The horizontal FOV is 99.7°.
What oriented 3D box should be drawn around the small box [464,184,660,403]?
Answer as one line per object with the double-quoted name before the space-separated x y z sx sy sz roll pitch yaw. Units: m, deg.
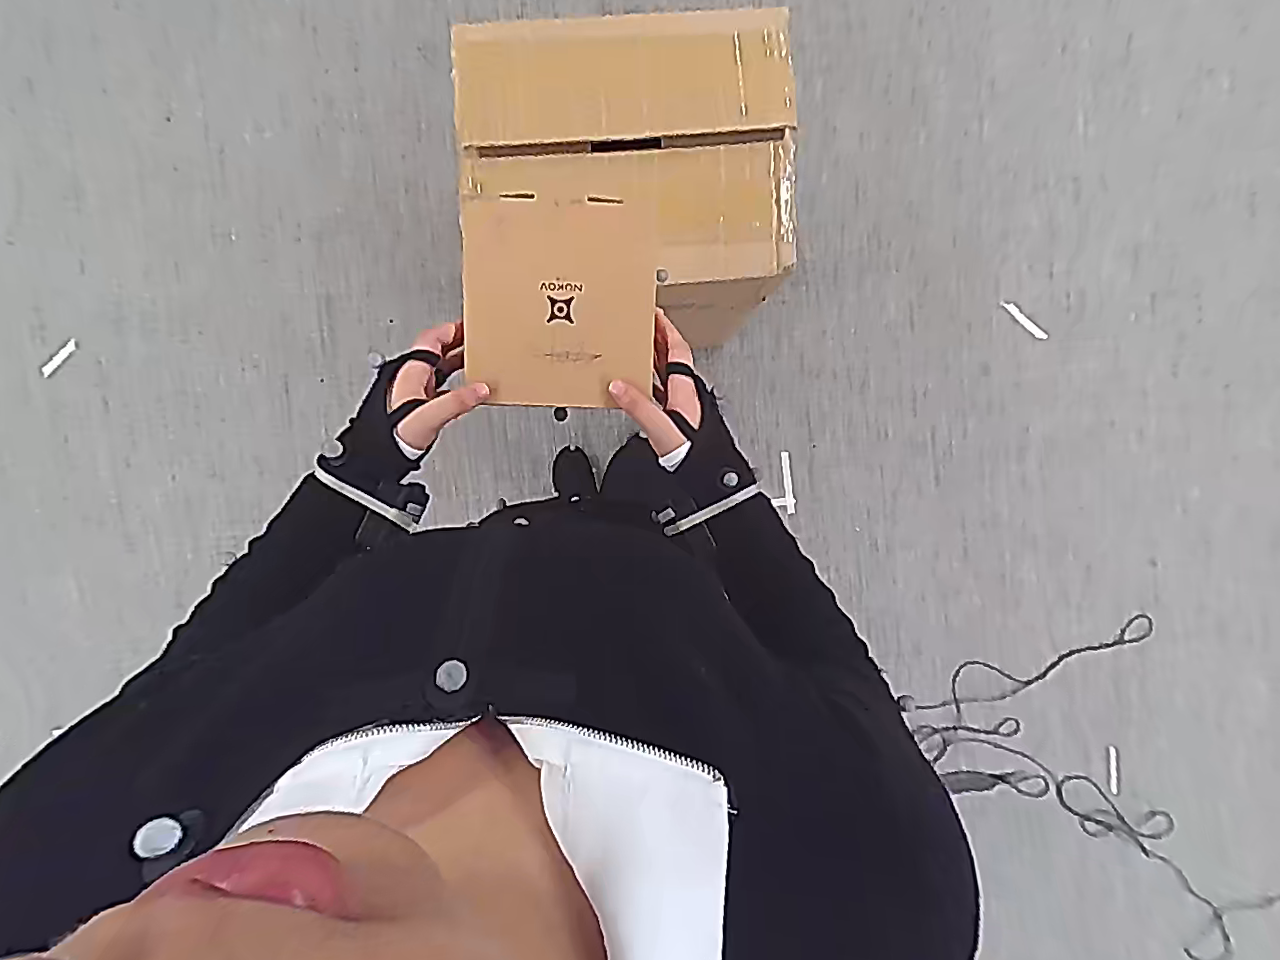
"small box" -0.073 -0.170 0.546 0.168 0.176 0.179 2 99 -3
